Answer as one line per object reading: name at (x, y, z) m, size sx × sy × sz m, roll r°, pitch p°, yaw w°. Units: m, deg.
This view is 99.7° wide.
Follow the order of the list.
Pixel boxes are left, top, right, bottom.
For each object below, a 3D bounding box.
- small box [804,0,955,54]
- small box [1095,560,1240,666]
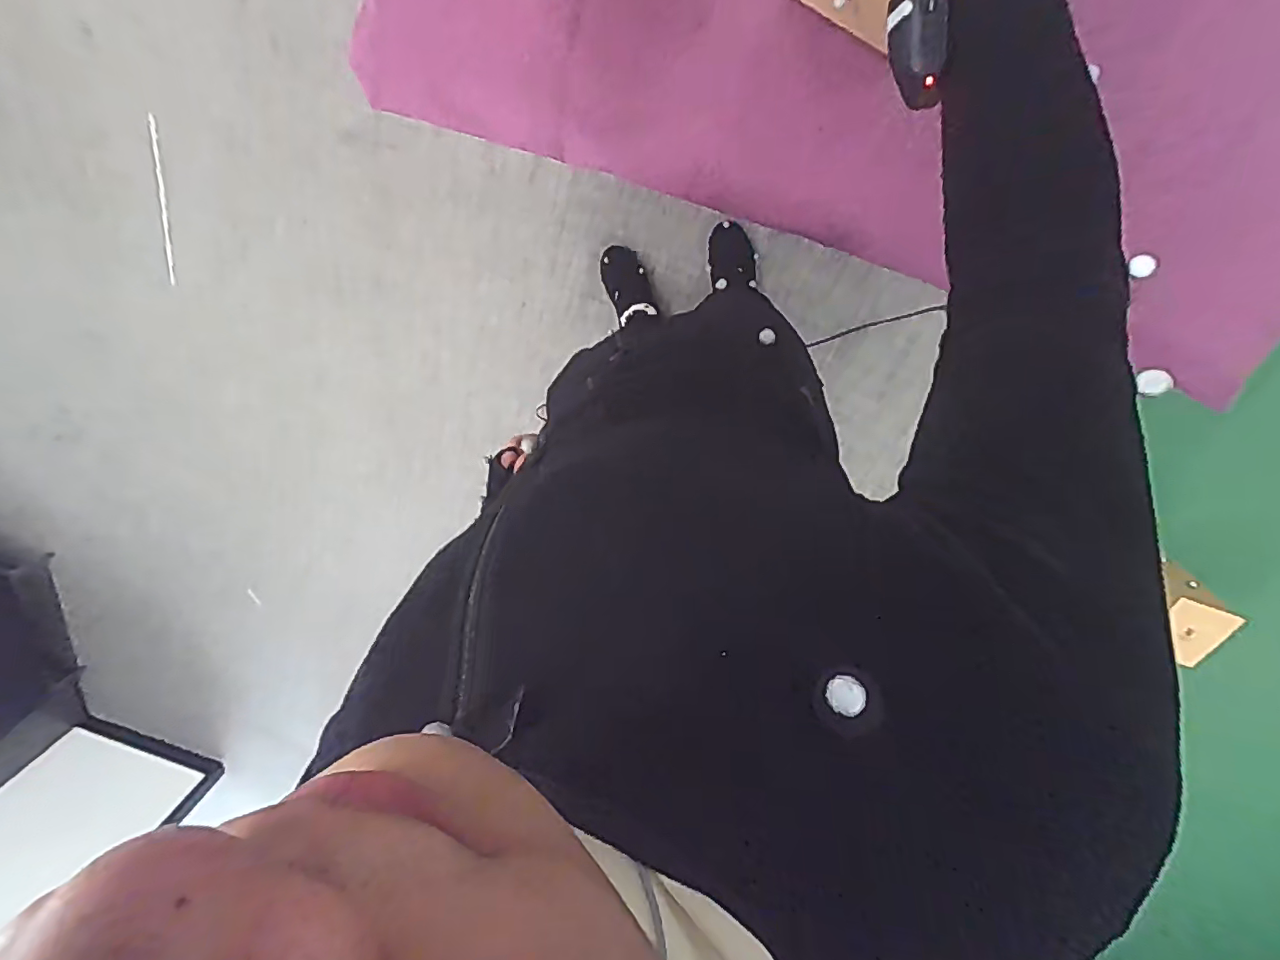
small box at (0.243, -0.531, 0.488) m, size 0.179 × 0.176 × 0.168 m, roll 34°, pitch 117°, yaw 3°
small box at (1.343, 0.337, 1.397) m, size 0.168 × 0.176 × 0.179 m, roll 20°, pitch 119°, yaw 0°
